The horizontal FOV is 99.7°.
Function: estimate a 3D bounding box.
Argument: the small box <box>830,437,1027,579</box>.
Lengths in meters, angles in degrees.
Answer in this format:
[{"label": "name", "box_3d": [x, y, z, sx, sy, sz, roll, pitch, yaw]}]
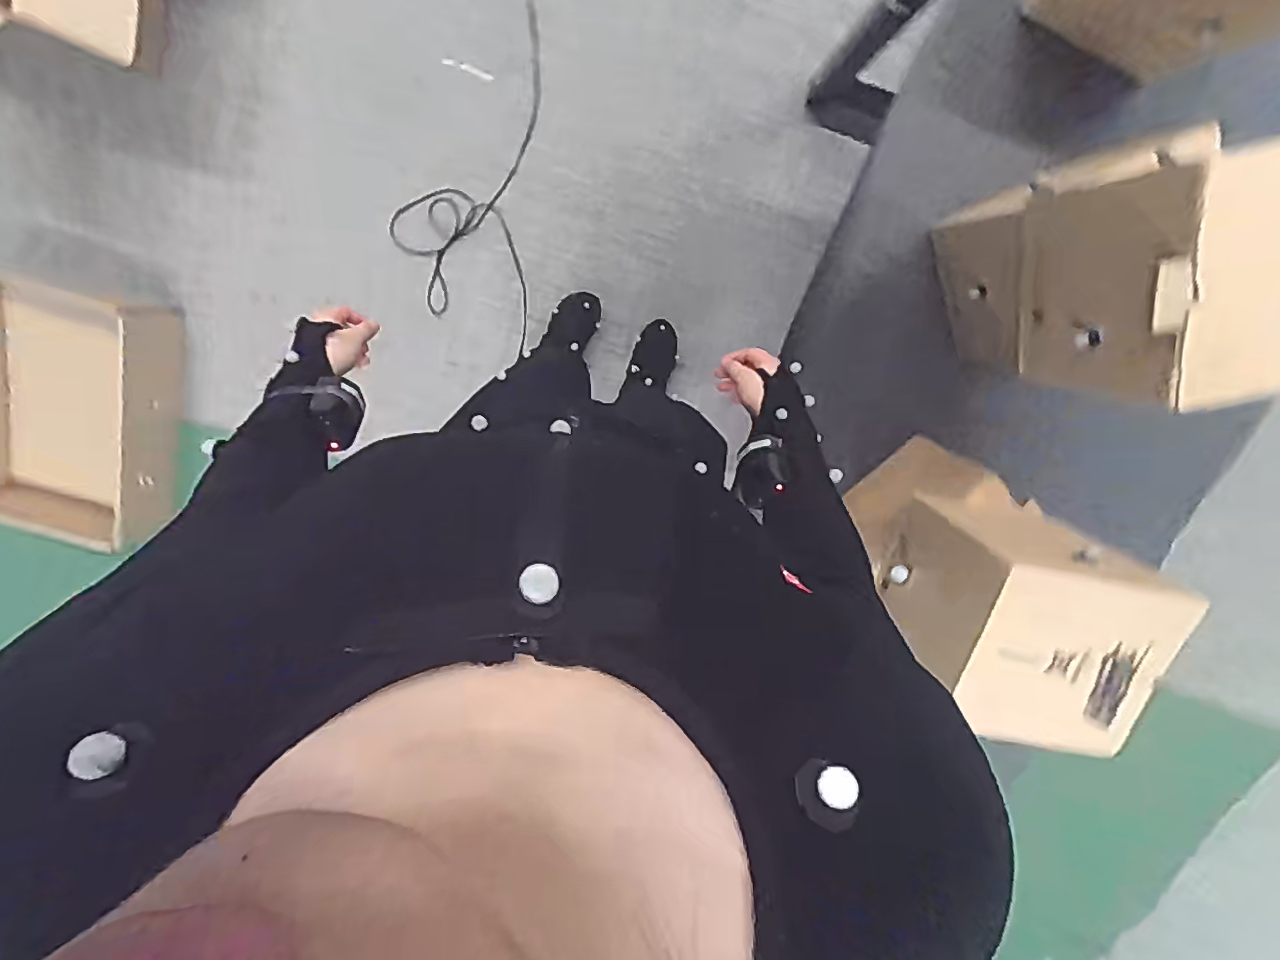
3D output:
[{"label": "small box", "box_3d": [0.368, 0.072, 0.688, 0.179, 0.176, 0.168, -43, 105, 11]}]

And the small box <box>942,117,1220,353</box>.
[{"label": "small box", "box_3d": [0.456, -0.243, 0.582, 0.179, 0.176, 0.168, -22, 109, 6]}]

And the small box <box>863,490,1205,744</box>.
[{"label": "small box", "box_3d": [0.357, 0.122, 0.531, 0.179, 0.176, 0.168, 12, 107, -5]}]

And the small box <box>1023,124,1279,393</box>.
[{"label": "small box", "box_3d": [0.447, -0.177, 0.433, 0.179, 0.176, 0.168, -11, 110, 2]}]
